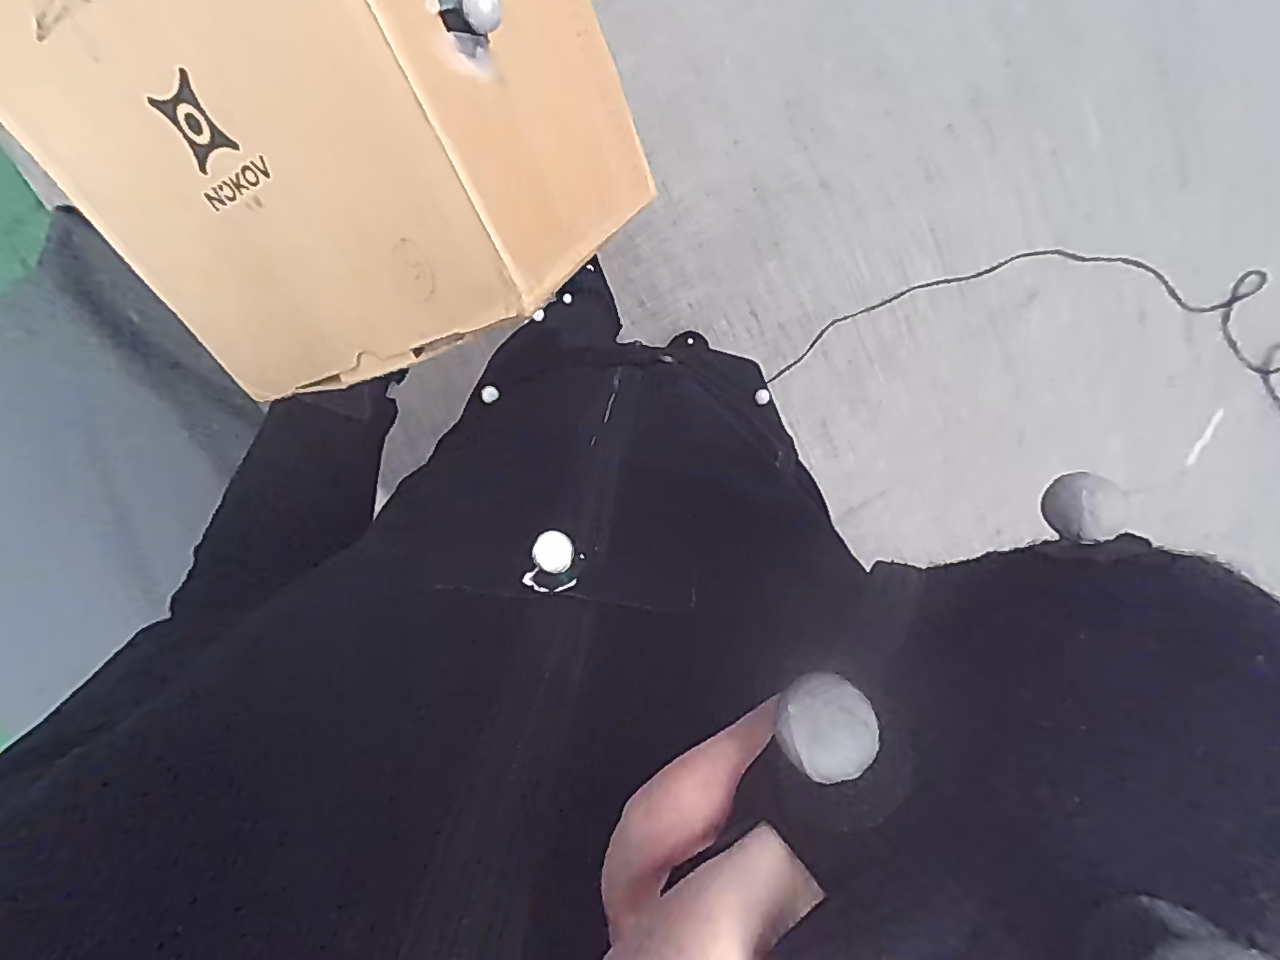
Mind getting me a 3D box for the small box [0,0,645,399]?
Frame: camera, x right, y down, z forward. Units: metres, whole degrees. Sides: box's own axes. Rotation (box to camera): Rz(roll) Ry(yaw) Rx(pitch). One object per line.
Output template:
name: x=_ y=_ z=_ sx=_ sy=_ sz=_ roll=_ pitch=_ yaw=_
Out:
small box: x=-0.116 y=-0.163 z=0.233 sx=0.168 sy=0.176 sz=0.179 roll=-9 pitch=125 yaw=27
